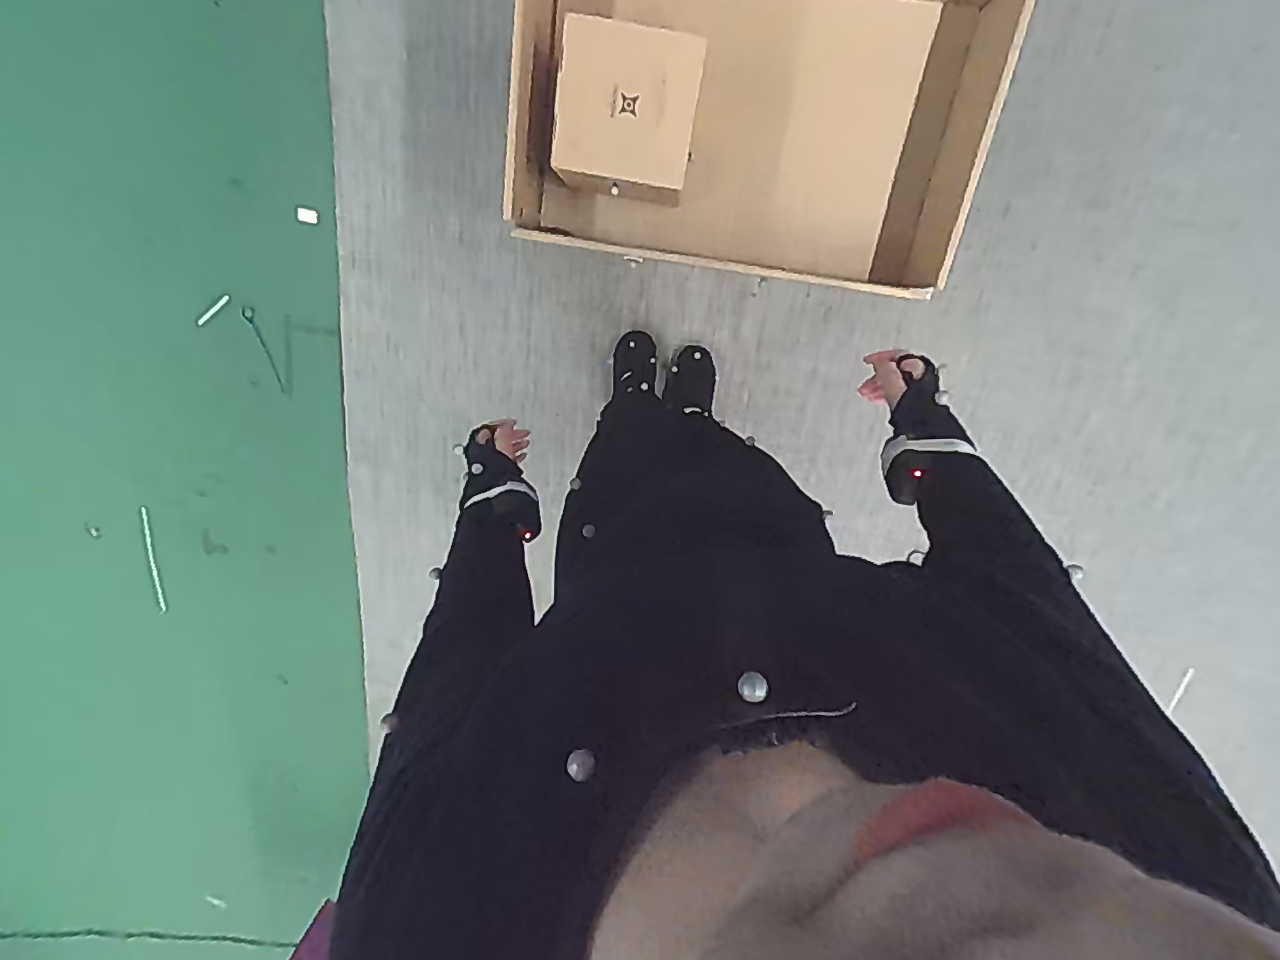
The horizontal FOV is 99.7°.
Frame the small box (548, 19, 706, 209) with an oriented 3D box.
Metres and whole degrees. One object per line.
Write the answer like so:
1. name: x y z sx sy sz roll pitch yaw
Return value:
1. small box: -0.013 -0.485 0.744 0.179 0.176 0.168 11 110 1
